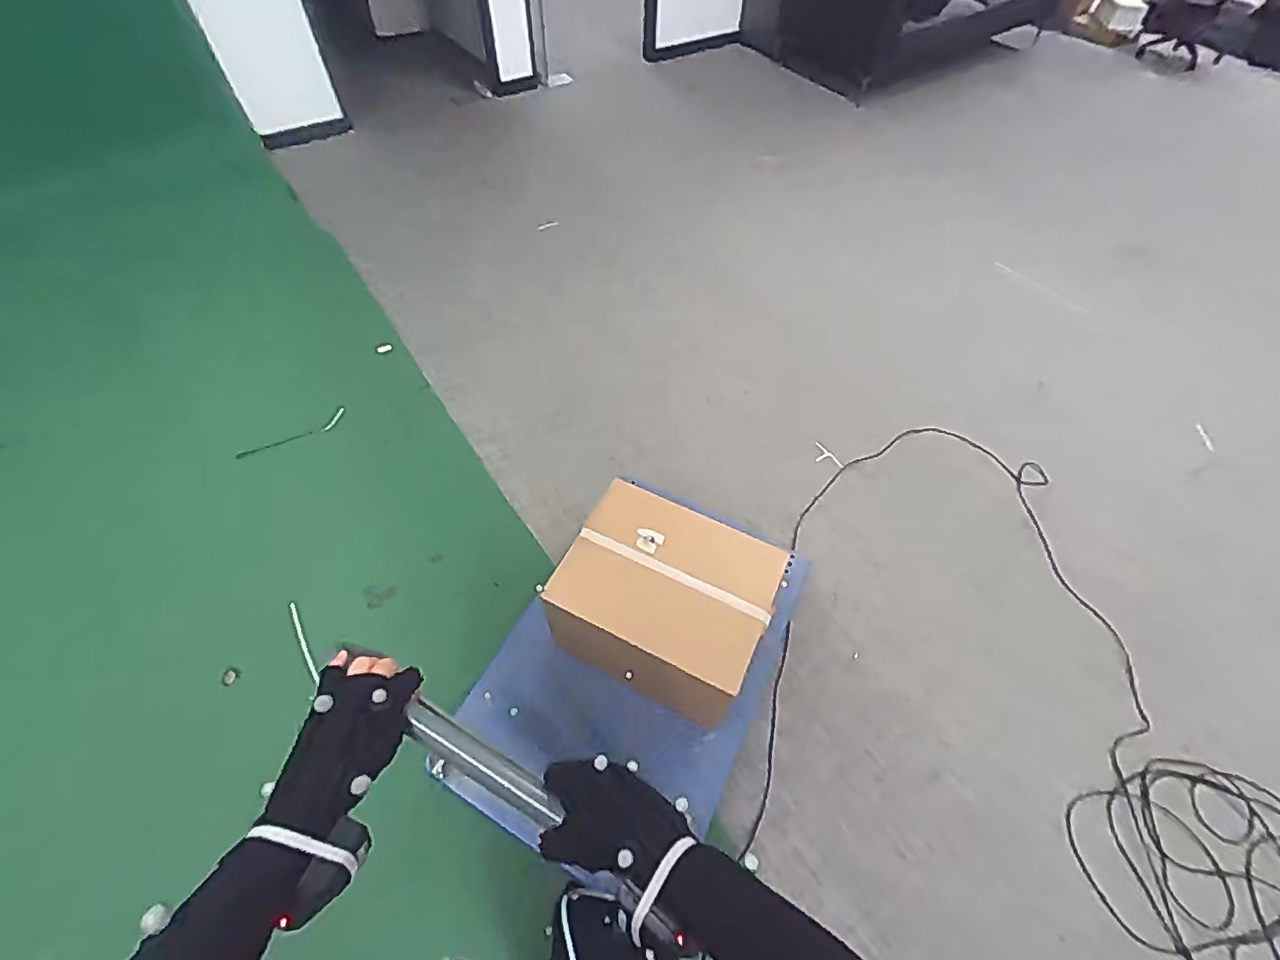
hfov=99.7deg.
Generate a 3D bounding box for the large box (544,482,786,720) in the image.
[{"bbox_3d":[0.056,0.269,1.191,0.408,0.320,0.320,23,57,14],"label":"large box"}]
